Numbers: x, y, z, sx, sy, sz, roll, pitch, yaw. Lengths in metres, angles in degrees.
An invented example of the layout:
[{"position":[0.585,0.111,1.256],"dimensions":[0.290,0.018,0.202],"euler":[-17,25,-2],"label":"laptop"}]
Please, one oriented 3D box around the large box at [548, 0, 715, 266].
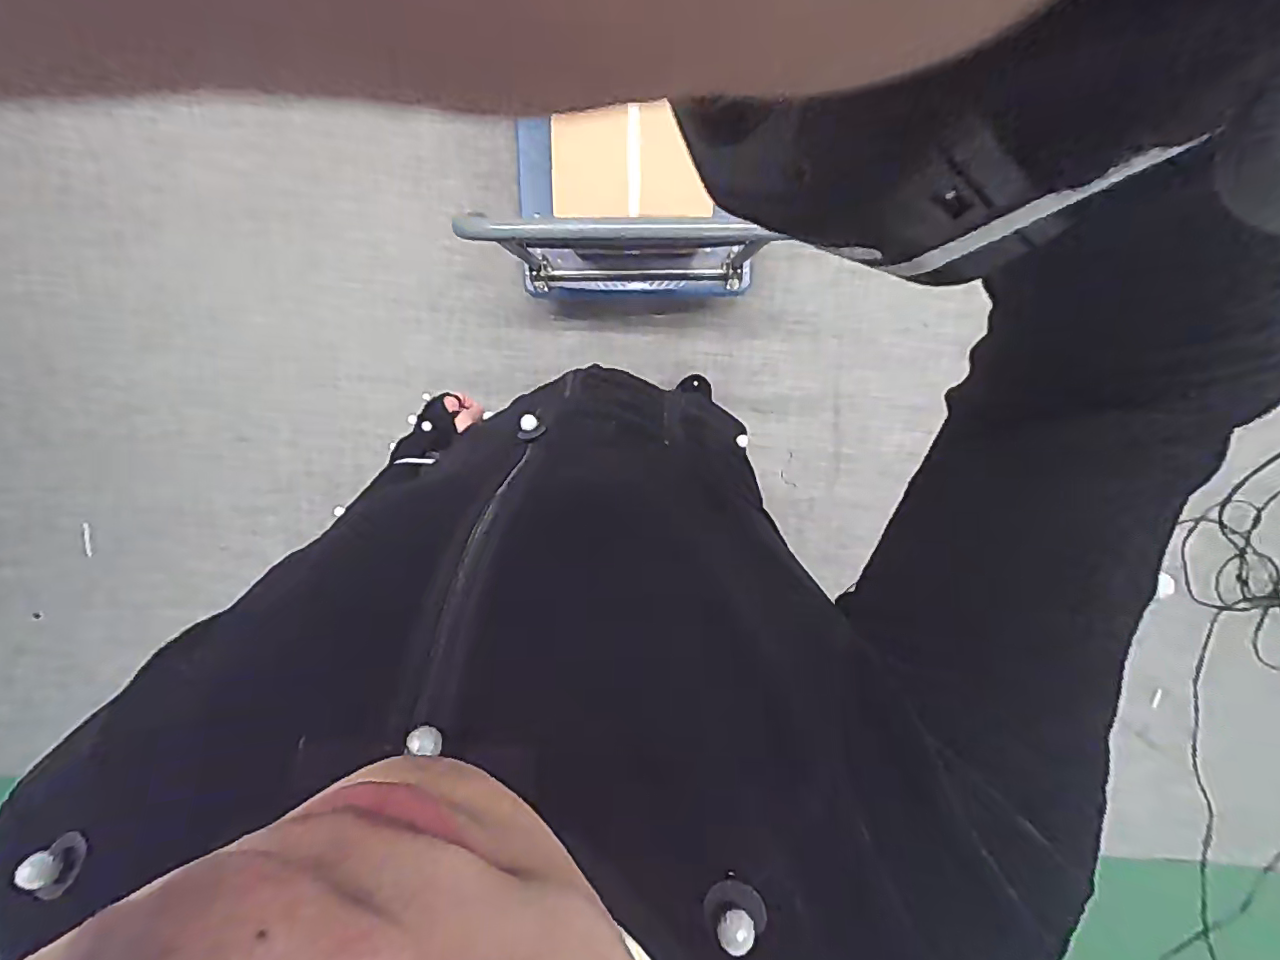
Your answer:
[{"position":[-0.009,-0.709,1.168],"dimensions":[0.320,0.320,0.408],"euler":[0,99,1],"label":"large box"}]
